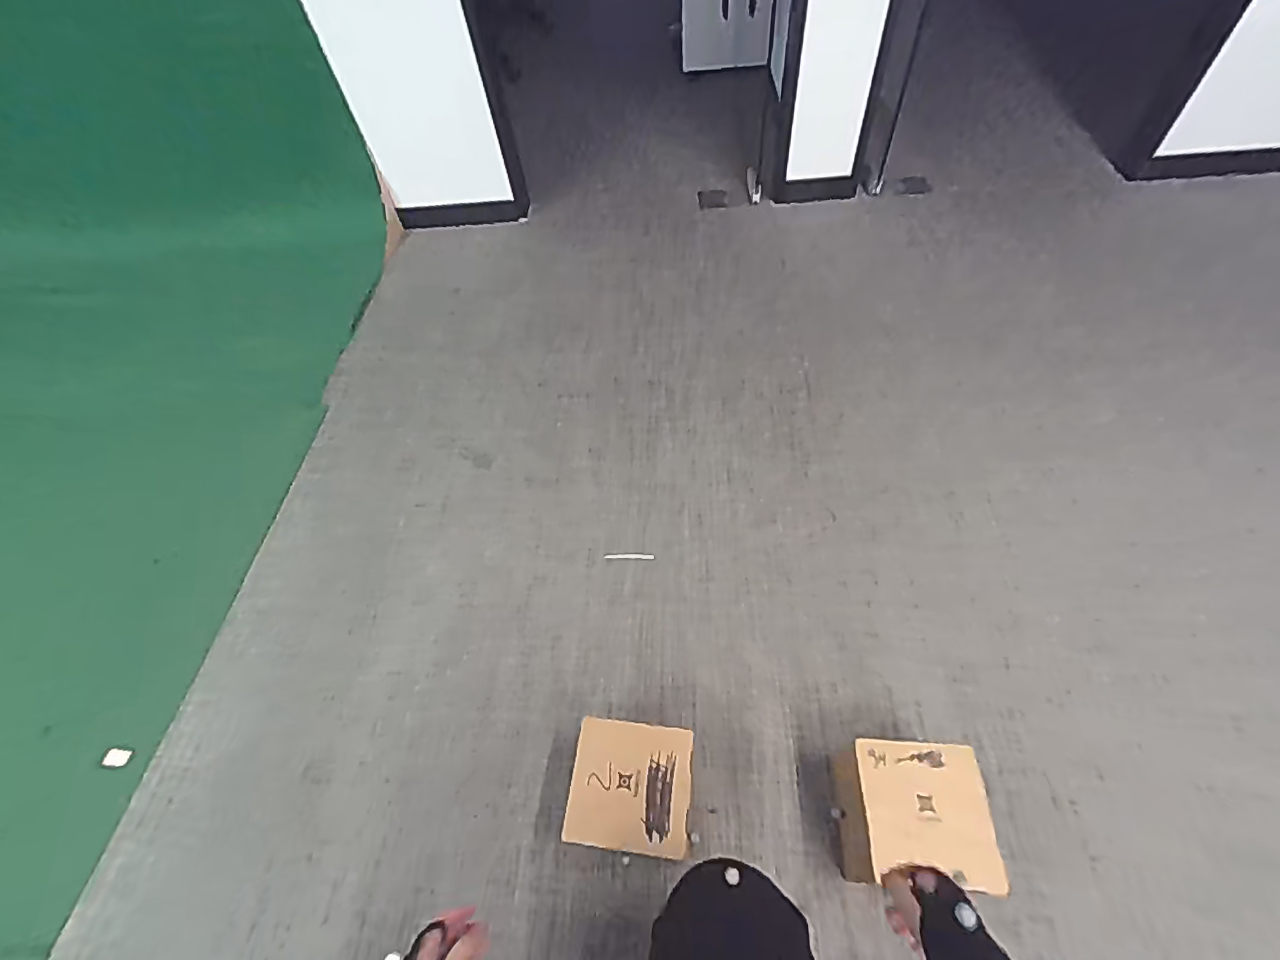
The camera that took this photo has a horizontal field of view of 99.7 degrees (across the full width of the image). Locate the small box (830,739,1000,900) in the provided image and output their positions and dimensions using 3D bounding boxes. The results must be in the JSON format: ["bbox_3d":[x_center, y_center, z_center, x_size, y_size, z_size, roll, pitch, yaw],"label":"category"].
[{"bbox_3d":[0.387,0.497,0.798,0.168,0.176,0.179,1,55,6],"label":"small box"}]
